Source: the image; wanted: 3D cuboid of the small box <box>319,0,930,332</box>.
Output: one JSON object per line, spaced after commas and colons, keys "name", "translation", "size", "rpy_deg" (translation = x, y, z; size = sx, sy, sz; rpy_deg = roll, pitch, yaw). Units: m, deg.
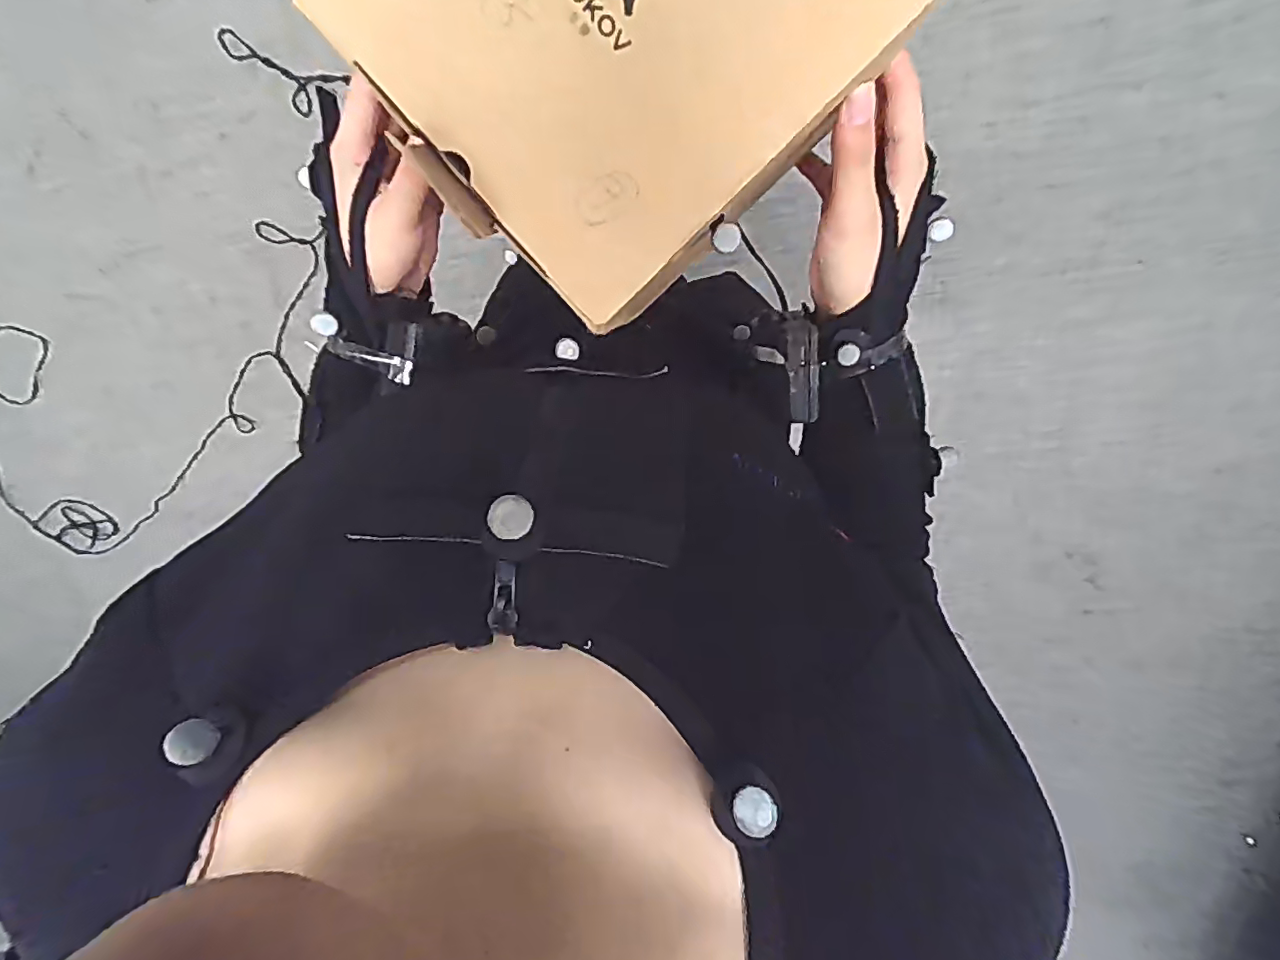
{"name": "small box", "translation": [-0.003, -0.198, 0.277], "size": [0.179, 0.176, 0.168], "rpy_deg": [-41, 101, 16]}
